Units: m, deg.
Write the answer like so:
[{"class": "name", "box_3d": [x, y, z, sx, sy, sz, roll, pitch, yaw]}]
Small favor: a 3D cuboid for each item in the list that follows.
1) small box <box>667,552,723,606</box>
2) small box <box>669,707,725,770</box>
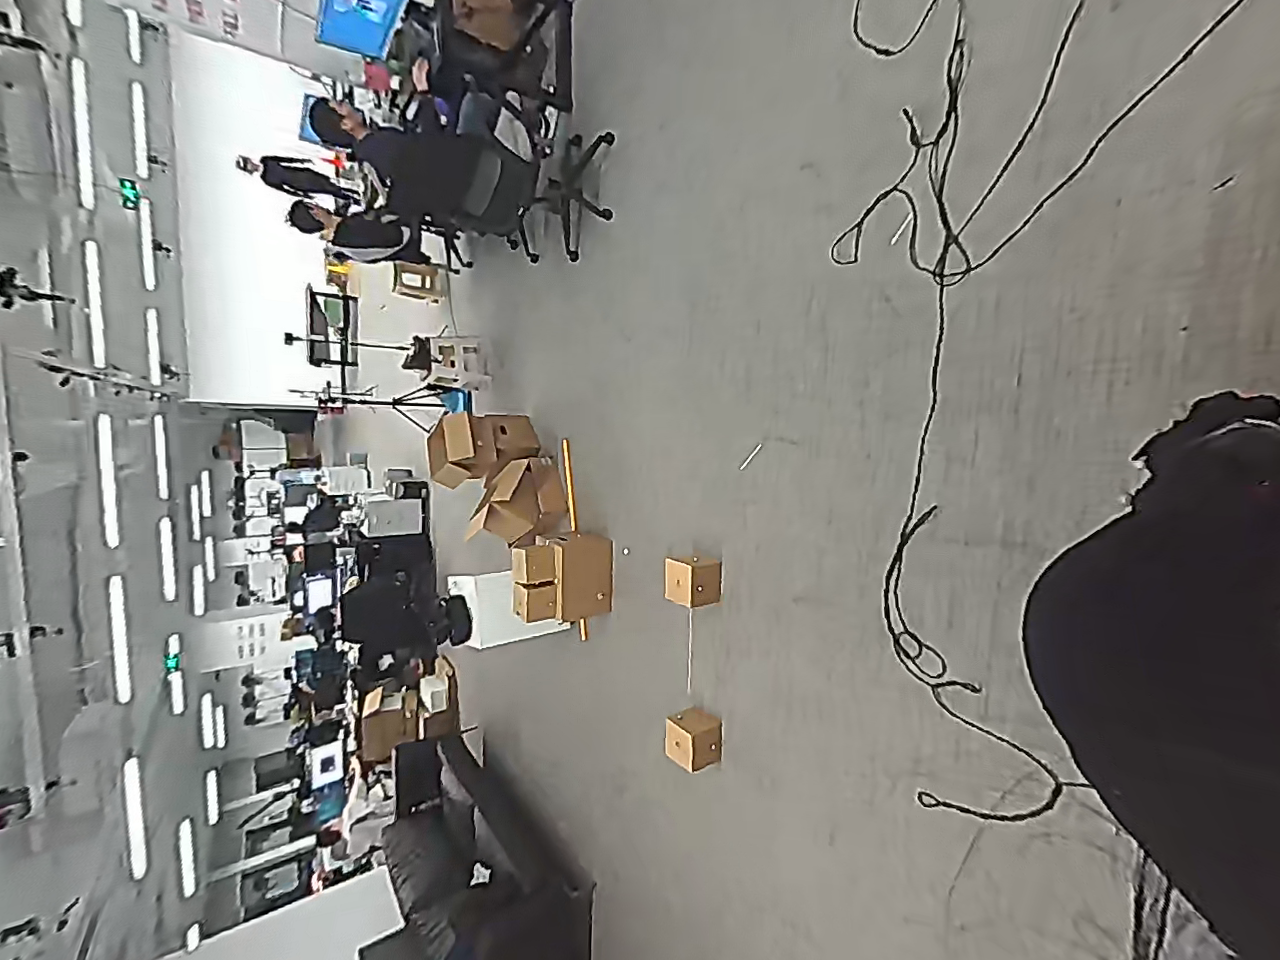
[{"class": "small box", "box_3d": [0.231, 0.405, 2.248, 0.168, 0.176, 0.179, 7, 99, 54]}, {"class": "small box", "box_3d": [0.240, 1.089, 2.298, 0.179, 0.176, 0.168, 7, 99, 54]}]
